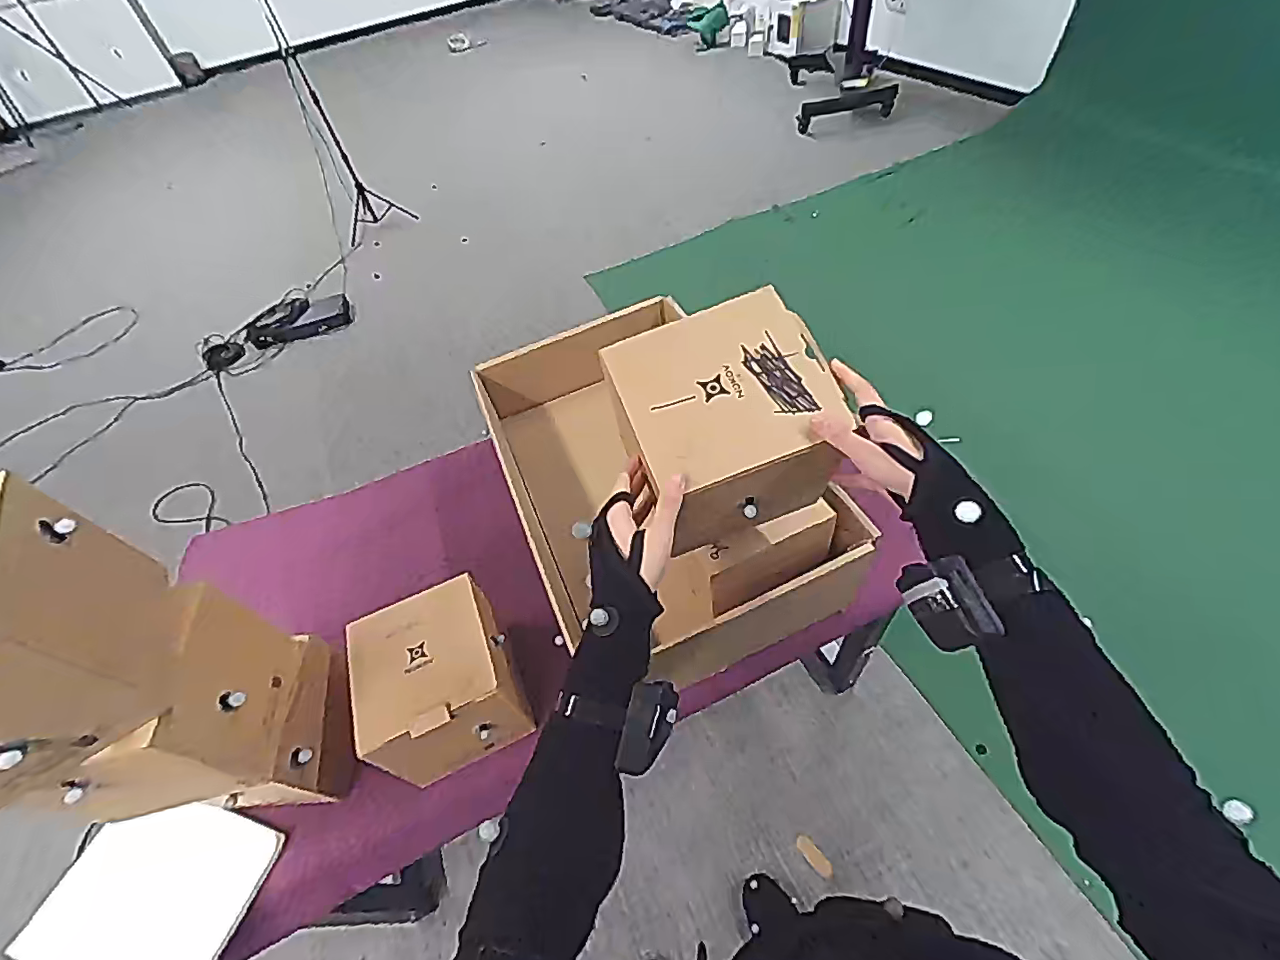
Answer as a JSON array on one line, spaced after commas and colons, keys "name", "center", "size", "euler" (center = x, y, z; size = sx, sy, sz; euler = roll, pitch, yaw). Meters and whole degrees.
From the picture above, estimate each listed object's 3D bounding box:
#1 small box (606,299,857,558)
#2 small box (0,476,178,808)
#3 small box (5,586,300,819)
[{"name": "small box", "center": [0.080, -0.042, 0.544], "size": [0.179, 0.176, 0.168], "euler": [-20, 65, -4]}, {"name": "small box", "center": [-0.529, 0.136, 0.443], "size": [0.168, 0.176, 0.179], "euler": [-31, 54, -15]}, {"name": "small box", "center": [-0.502, 0.238, 0.570], "size": [0.179, 0.176, 0.168], "euler": [-14, 51, -1]}]
